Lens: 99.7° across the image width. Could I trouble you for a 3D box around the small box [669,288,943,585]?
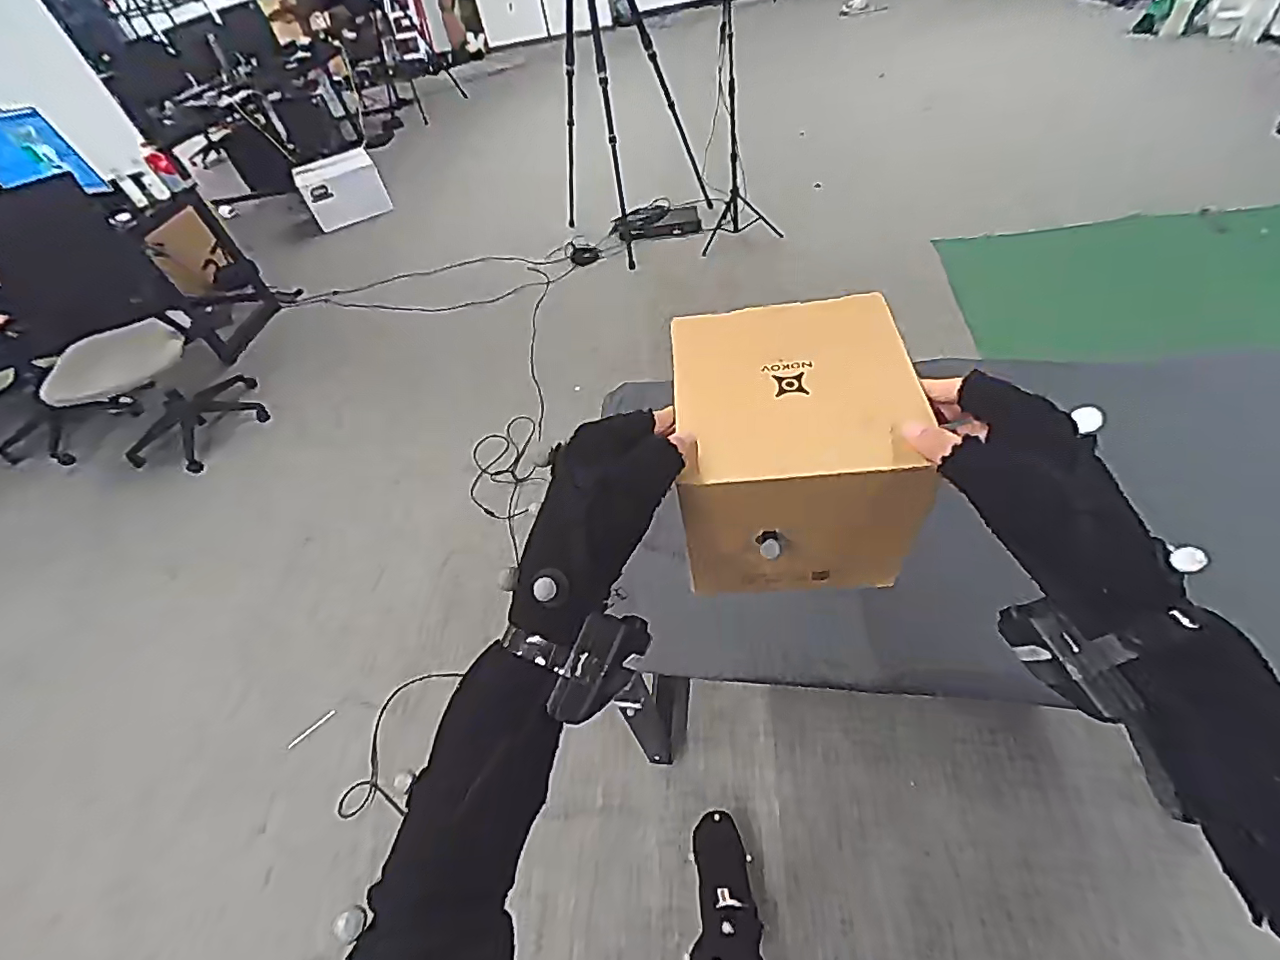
[{"bbox_3d":[0.116,-0.025,0.440,0.168,0.176,0.179,-5,51,8],"label":"small box"}]
